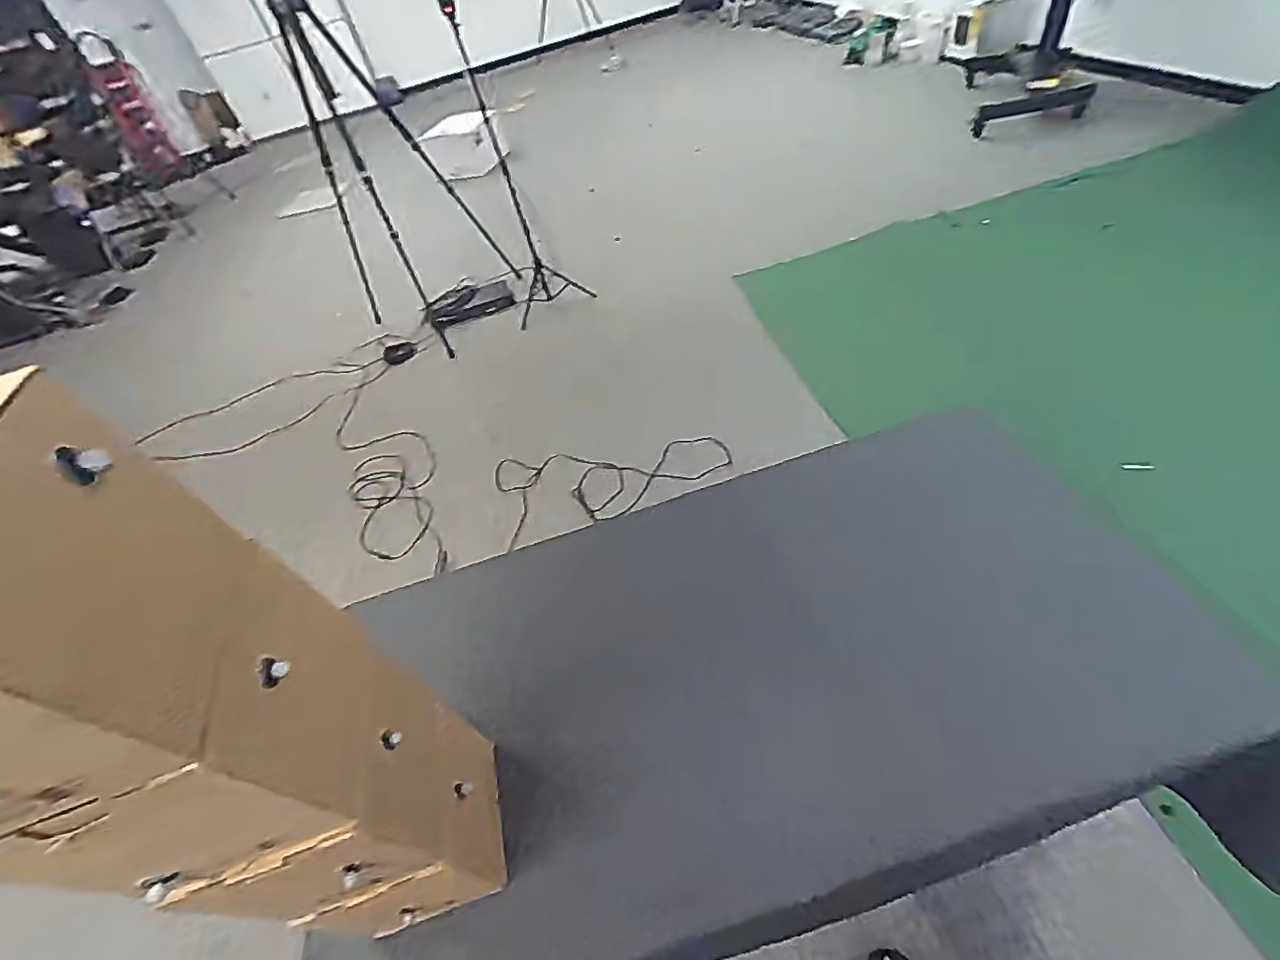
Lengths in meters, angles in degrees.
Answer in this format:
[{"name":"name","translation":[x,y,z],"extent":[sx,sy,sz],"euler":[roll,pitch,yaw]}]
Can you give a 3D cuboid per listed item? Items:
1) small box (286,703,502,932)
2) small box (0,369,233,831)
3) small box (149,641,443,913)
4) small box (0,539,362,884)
[{"name":"small box","translation":[-0.278,0.404,0.648],"extent":[0.168,0.176,0.179],"euler":[-19,47,-4]},{"name":"small box","translation":[-0.370,0.074,0.296],"extent":[0.168,0.176,0.179],"euler":[-20,48,-5]},{"name":"small box","translation":[-0.307,0.294,0.531],"extent":[0.168,0.176,0.179],"euler":[-18,47,-4]},{"name":"small box","translation":[-0.338,0.182,0.416],"extent":[0.168,0.176,0.179],"euler":[-19,47,-5]}]
